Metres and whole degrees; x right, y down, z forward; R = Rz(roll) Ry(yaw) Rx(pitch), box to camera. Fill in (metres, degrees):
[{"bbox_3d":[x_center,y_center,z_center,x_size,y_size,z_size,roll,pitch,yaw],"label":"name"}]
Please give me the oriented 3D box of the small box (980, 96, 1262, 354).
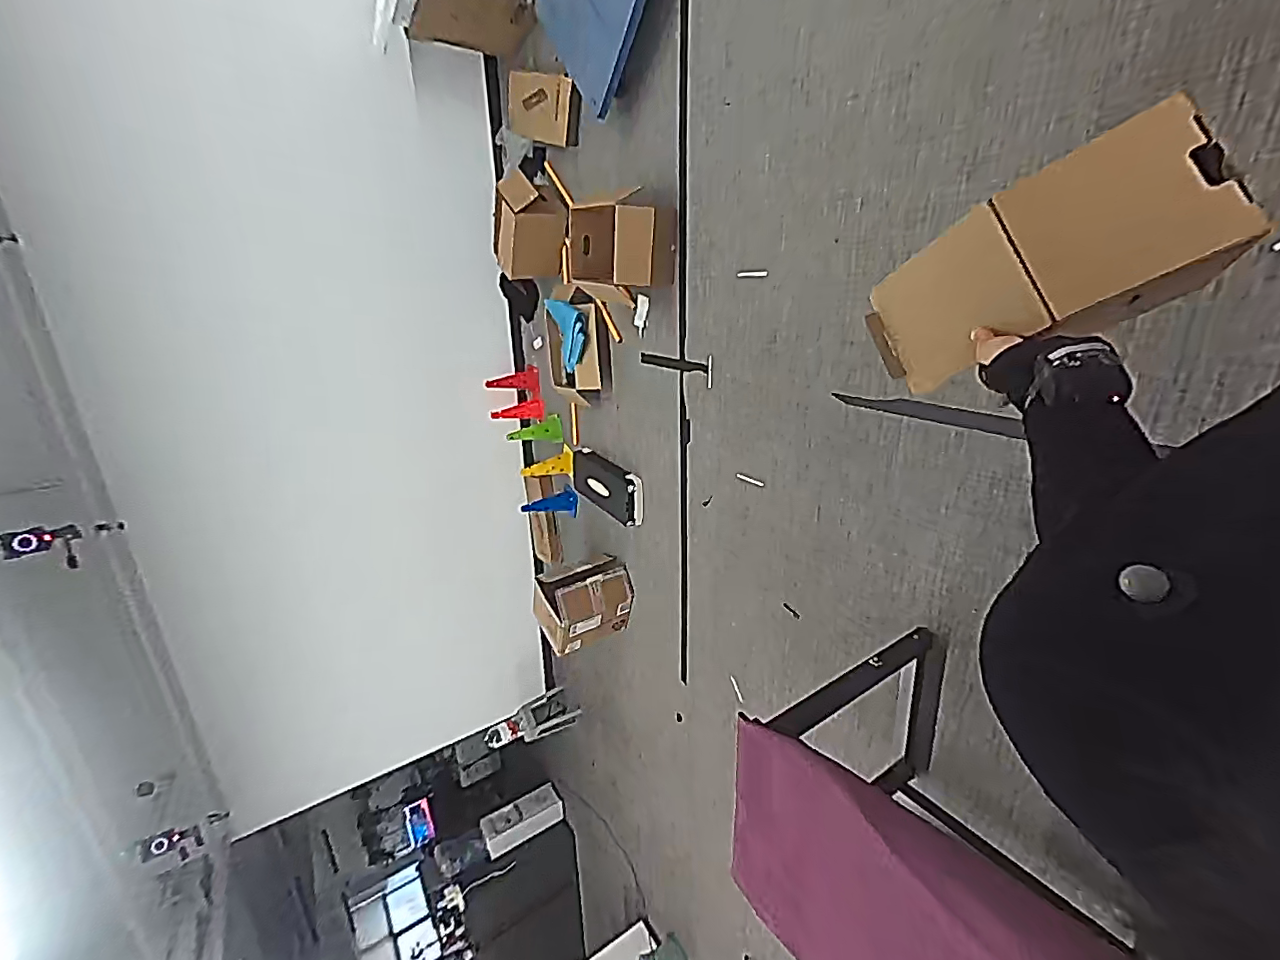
[{"bbox_3d":[0.518,-0.266,0.617,0.179,0.176,0.168,-25,76,28],"label":"small box"}]
